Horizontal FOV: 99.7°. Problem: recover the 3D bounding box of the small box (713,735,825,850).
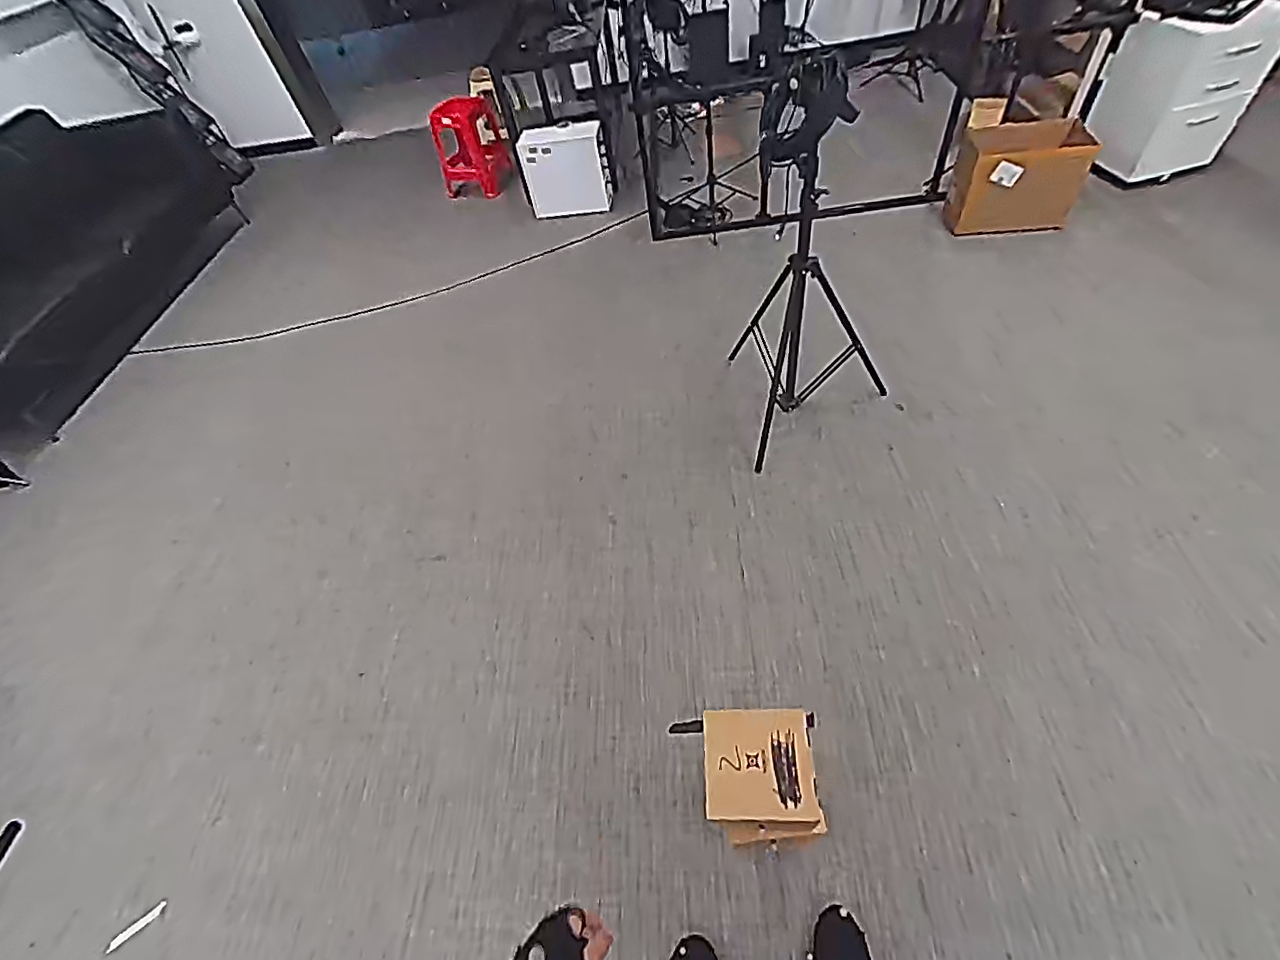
[{"bbox_3d":[0.245,0.616,1.062,0.179,0.176,0.168,-10,51,4],"label":"small box"}]
